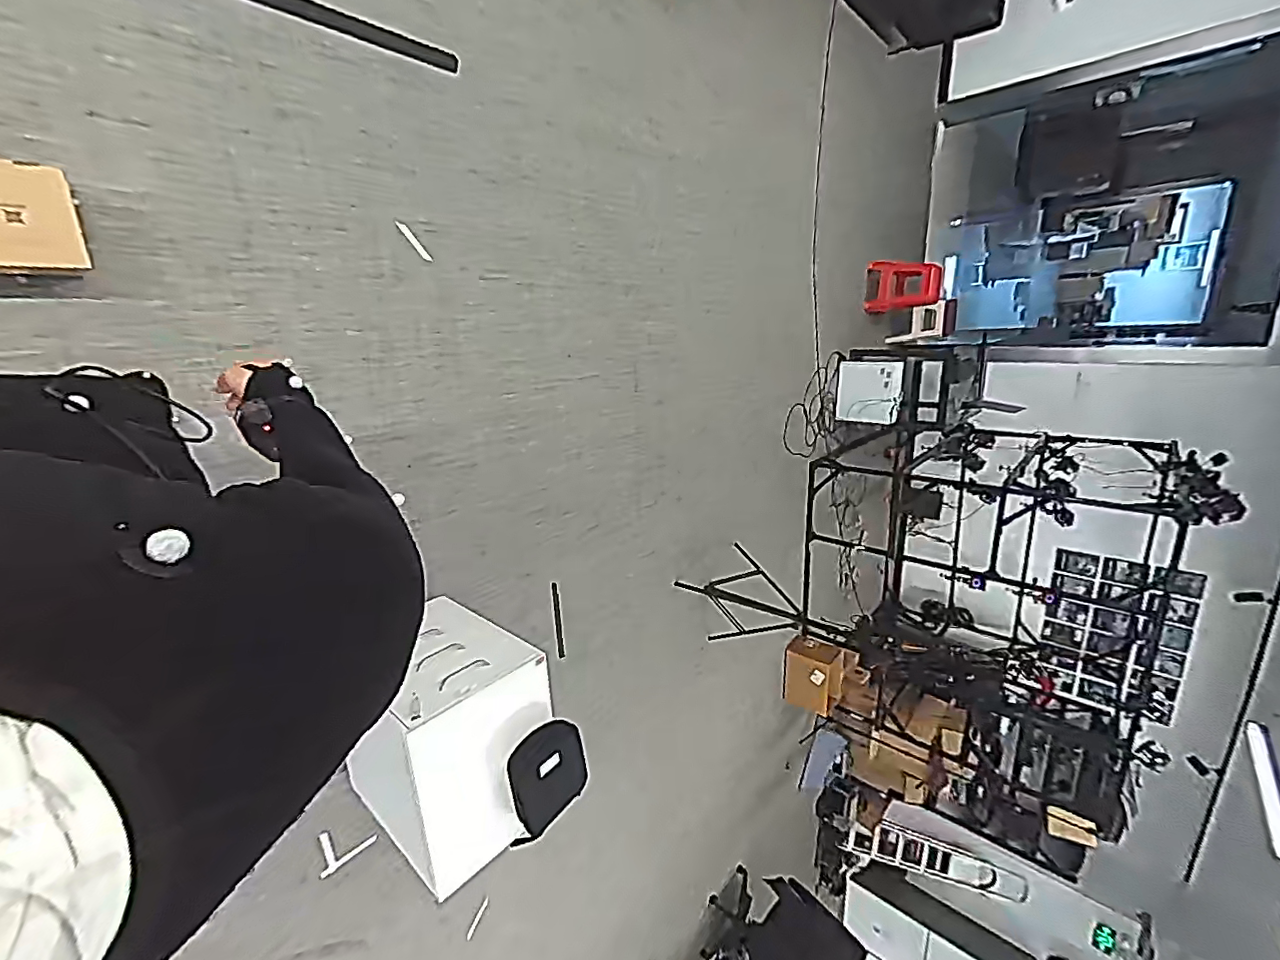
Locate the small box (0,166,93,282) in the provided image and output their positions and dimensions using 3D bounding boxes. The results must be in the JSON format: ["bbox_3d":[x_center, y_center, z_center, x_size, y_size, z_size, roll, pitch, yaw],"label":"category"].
[{"bbox_3d":[-1.158,-0.468,0.999,0.168,0.176,0.179,-20,114,-44],"label":"small box"}]
